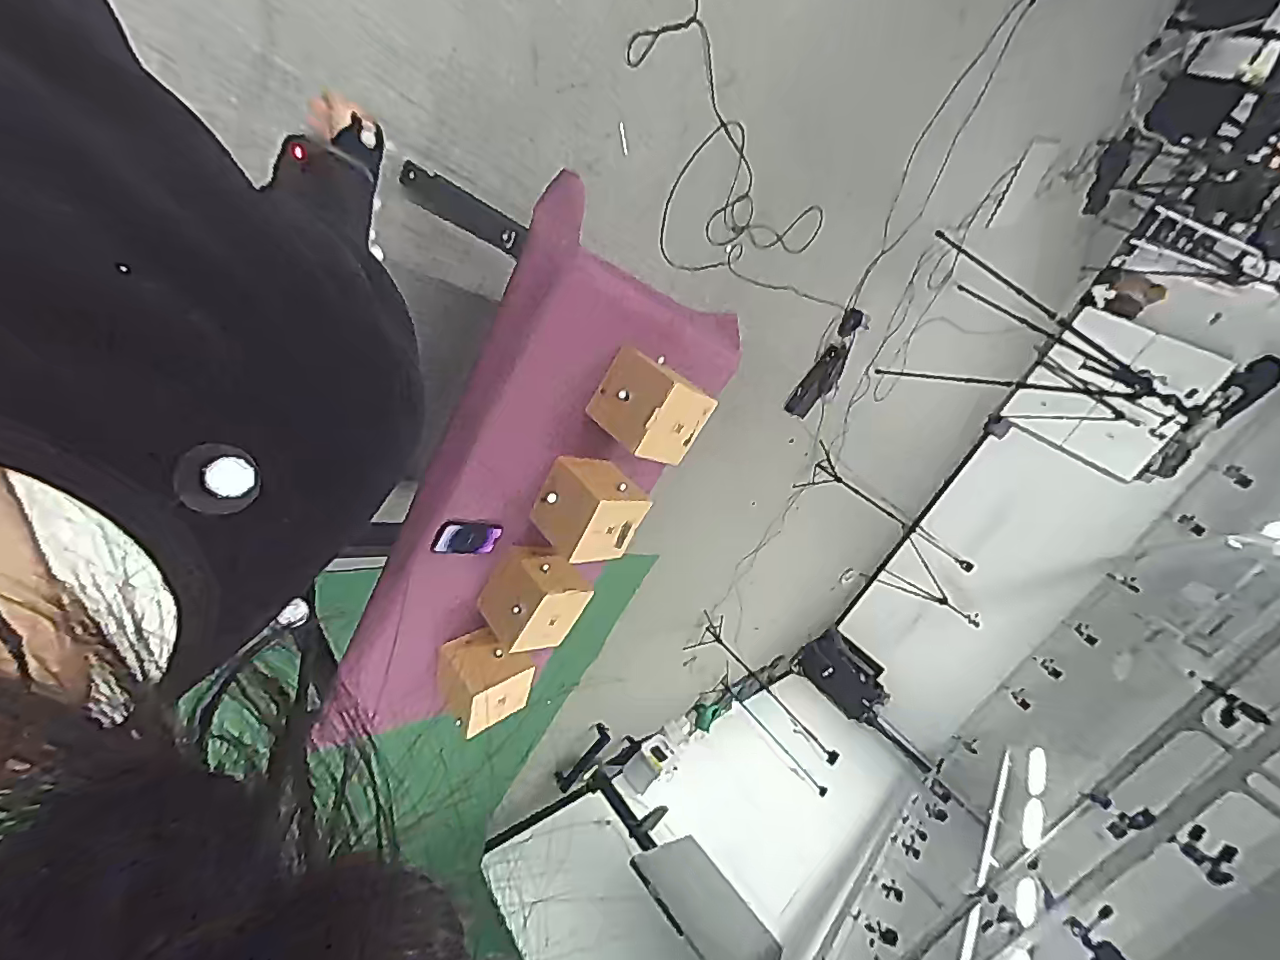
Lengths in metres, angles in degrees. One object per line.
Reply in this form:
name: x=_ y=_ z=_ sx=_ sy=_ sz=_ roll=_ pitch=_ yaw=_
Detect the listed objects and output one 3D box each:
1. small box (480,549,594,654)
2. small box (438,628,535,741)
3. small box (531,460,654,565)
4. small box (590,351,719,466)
small box: x=-0.247 y=0.279 z=1.273 sx=0.168 sy=0.176 sz=0.179 roll=16 pitch=112 yaw=-54
small box: x=-0.383 y=0.491 z=1.335 sx=0.168 sy=0.176 sz=0.179 roll=-16 pitch=136 yaw=-41
small box: x=-0.109 y=0.068 z=1.212 sx=0.179 sy=0.176 sz=0.168 roll=4 pitch=121 yaw=-51
small box: x=0.026 y=-0.152 z=1.140 sx=0.179 sy=0.176 sz=0.168 roll=12 pitch=115 yaw=-53
